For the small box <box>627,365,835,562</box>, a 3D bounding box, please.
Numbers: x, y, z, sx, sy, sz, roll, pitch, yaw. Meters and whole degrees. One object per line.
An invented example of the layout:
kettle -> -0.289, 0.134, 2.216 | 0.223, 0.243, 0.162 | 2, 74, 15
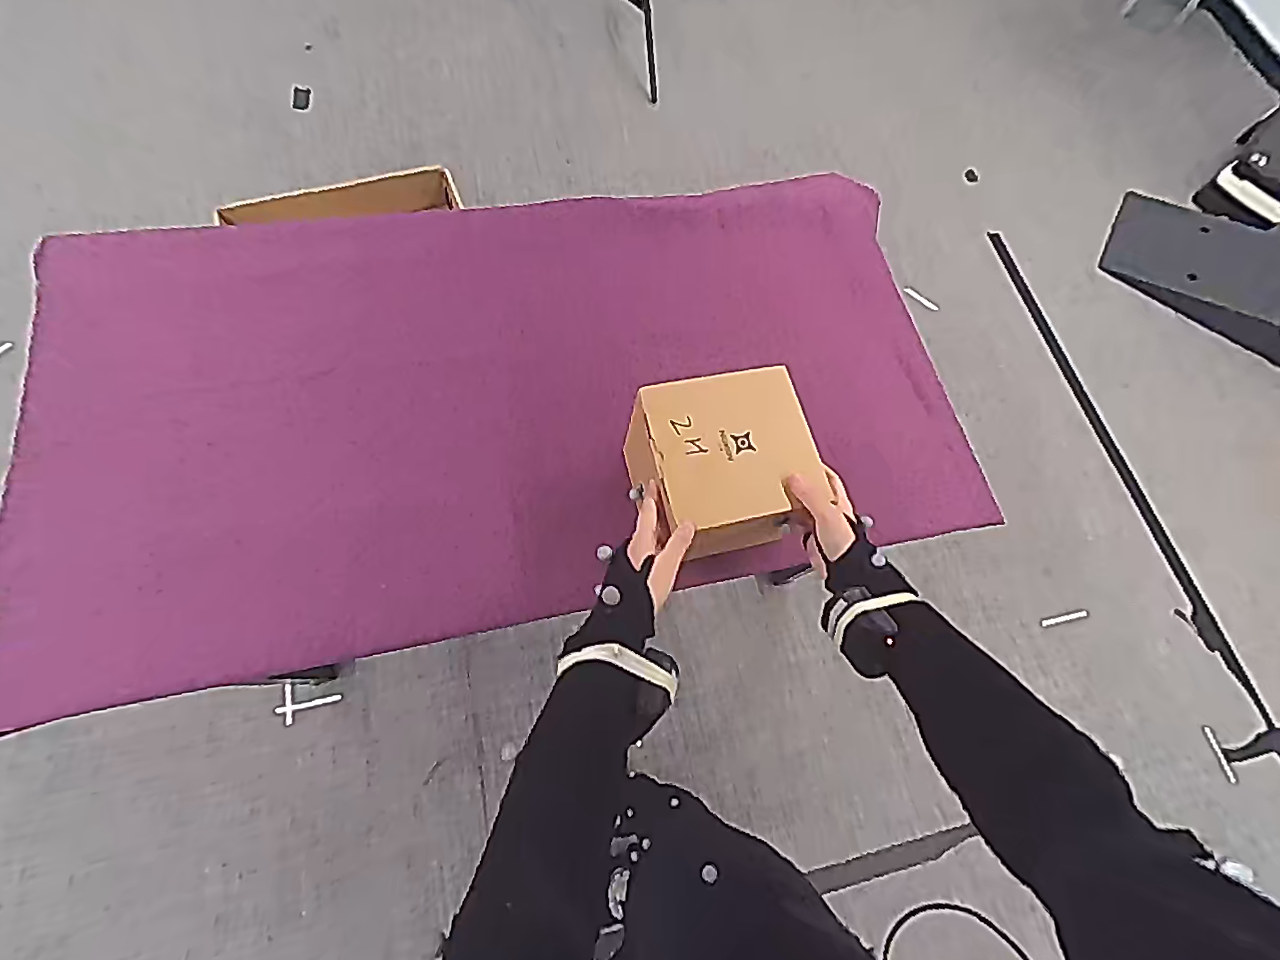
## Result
small box -> 0.091, -0.012, 0.637 | 0.179, 0.176, 0.168 | -11, 71, -11
